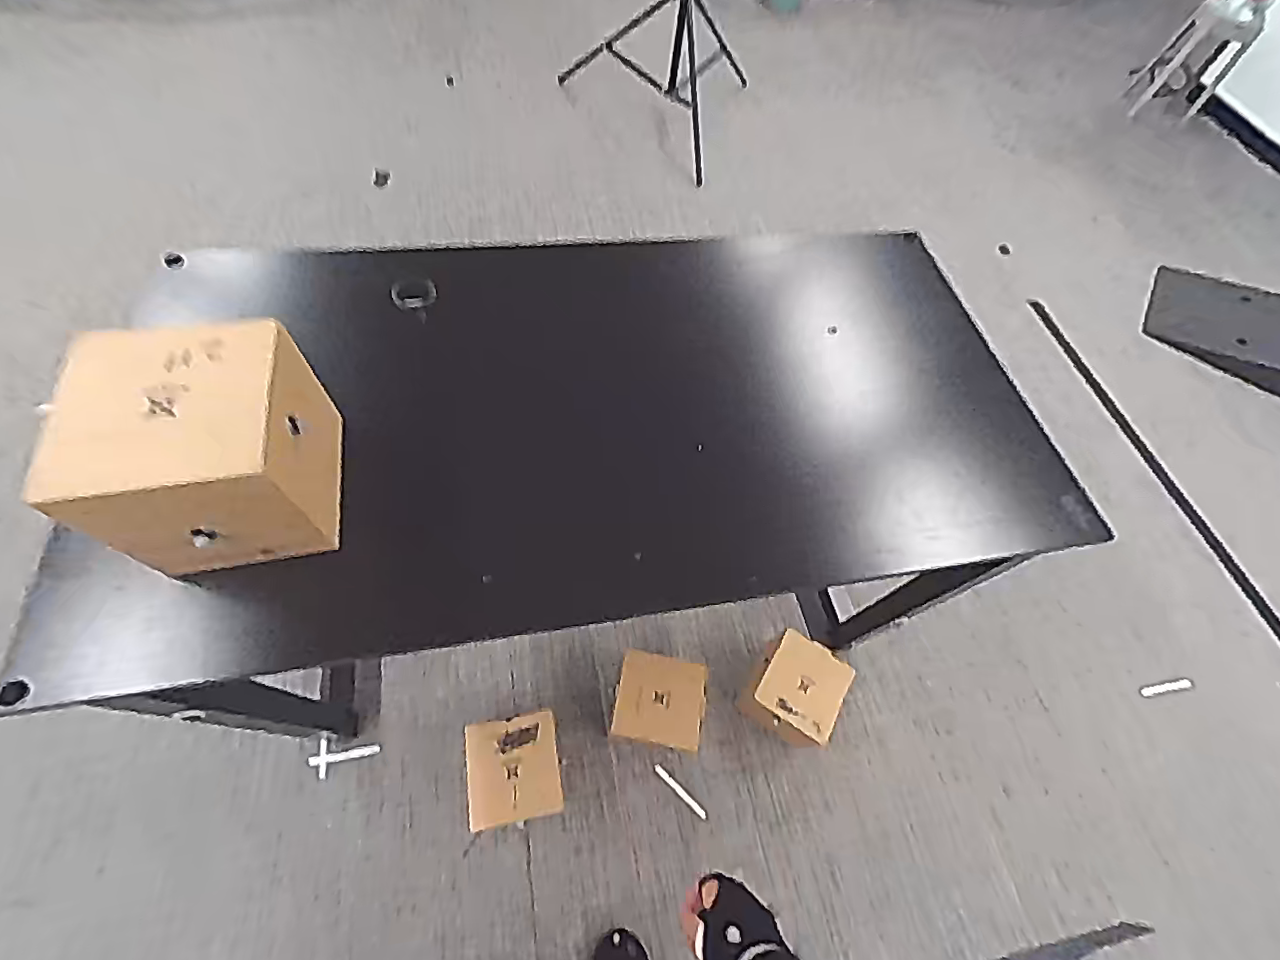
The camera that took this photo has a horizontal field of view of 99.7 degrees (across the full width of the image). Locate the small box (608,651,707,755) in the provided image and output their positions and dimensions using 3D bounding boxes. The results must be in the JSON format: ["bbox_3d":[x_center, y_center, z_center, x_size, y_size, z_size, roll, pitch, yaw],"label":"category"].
[{"bbox_3d":[0.033,0.480,1.151,0.179,0.176,0.168,11,60,1],"label":"small box"}]

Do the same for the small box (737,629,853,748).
[{"bbox_3d":[0.333,0.463,1.192,0.168,0.176,0.179,31,62,11],"label":"small box"}]

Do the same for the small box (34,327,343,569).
[{"bbox_3d":[-0.413,-0.023,0.536,0.168,0.176,0.179,-9,62,-12],"label":"small box"}]

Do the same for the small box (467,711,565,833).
[{"bbox_3d":[-0.241,0.571,1.066,0.168,0.176,0.179,-8,64,-11],"label":"small box"}]
